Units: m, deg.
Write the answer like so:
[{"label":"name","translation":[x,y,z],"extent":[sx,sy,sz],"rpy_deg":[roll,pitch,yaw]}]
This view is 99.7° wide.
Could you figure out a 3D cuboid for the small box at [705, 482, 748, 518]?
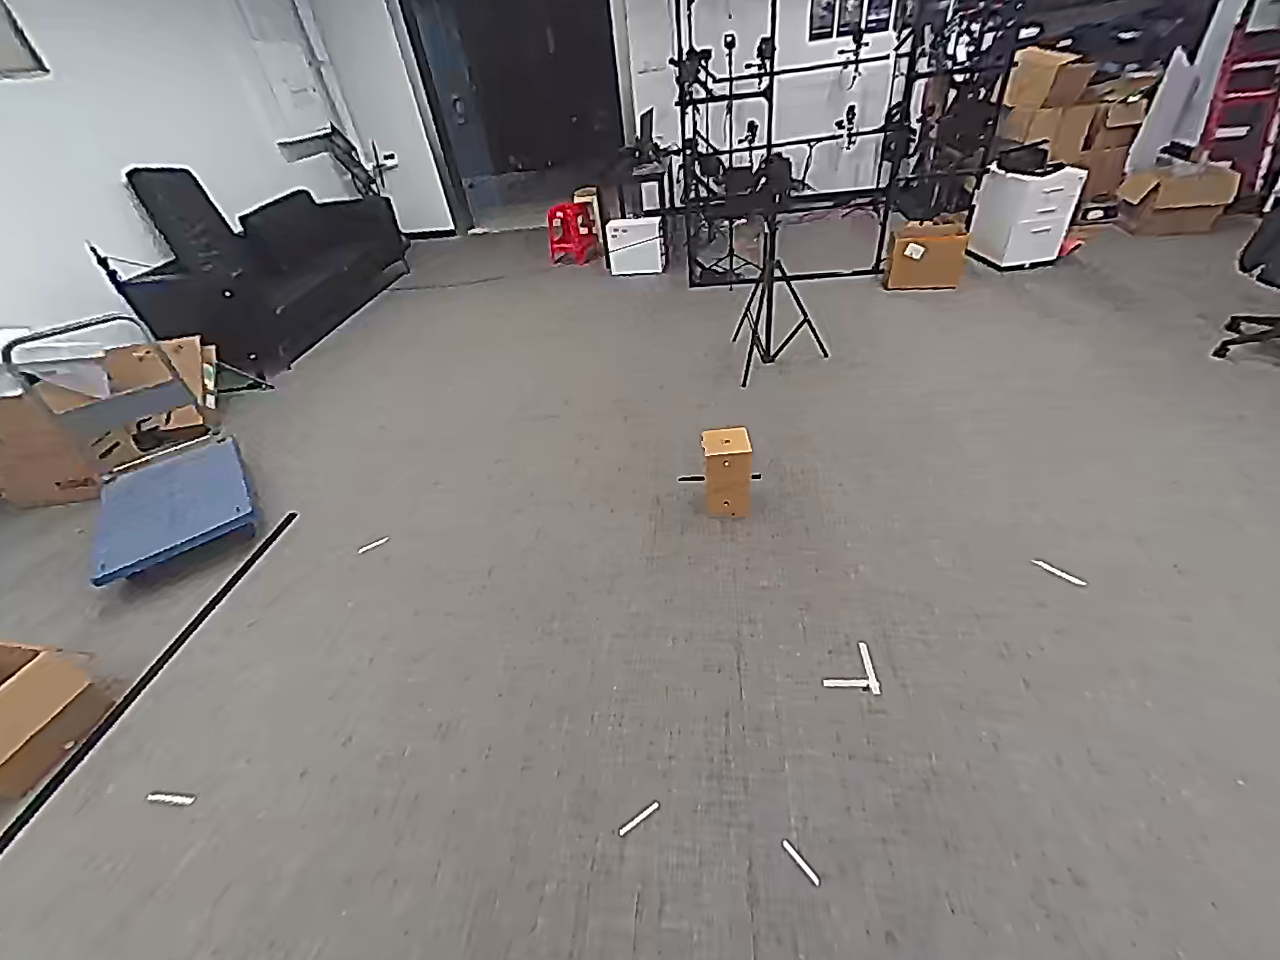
[{"label":"small box","translation":[0.360,0.042,2.226],"extent":[0.168,0.176,0.179],"rpy_deg":[1,38,11]}]

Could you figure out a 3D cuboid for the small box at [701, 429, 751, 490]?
[{"label":"small box","translation":[0.334,-0.078,2.119],"extent":[0.179,0.176,0.168],"rpy_deg":[-6,38,4]}]
